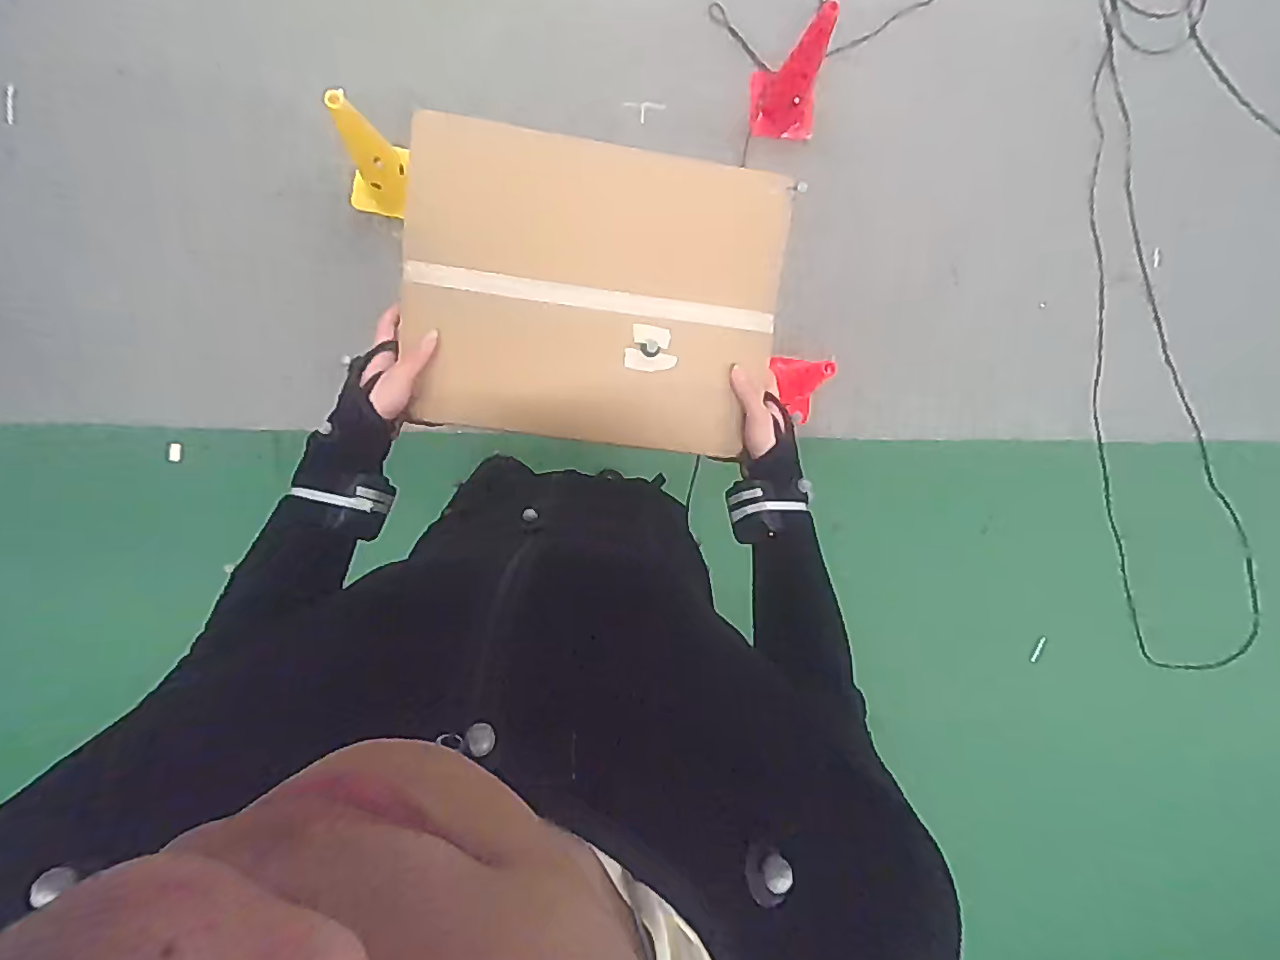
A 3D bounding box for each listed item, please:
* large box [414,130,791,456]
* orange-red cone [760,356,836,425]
[{"bbox_3d":[-0.059,-0.220,0.747,0.408,0.320,0.320,6,100,-7],"label":"large box"},{"bbox_3d":[0.451,-0.272,1.505,0.199,0.360,0.198,8,91,-7],"label":"orange-red cone"}]
